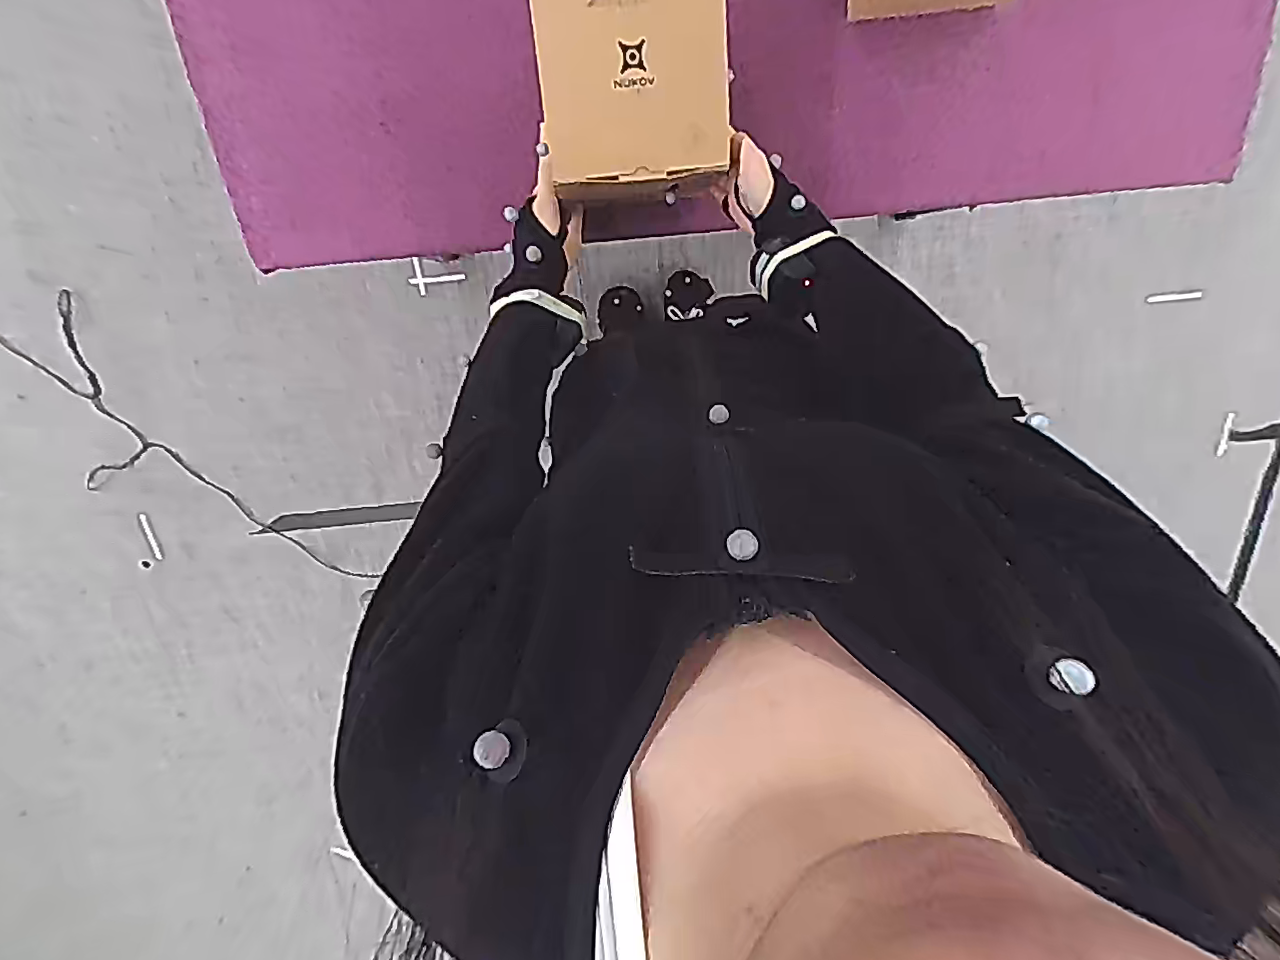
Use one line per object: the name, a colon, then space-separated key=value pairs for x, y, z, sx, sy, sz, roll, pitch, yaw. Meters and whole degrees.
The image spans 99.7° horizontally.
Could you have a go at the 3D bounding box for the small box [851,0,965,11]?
small box: x=0.311 y=-0.571 z=0.492 sx=0.179 sy=0.176 sz=0.168 roll=-7 pitch=109 yaw=-1

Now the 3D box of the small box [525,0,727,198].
small box: x=-0.014 y=-0.389 z=0.535 sx=0.168 sy=0.176 sz=0.179 roll=-8 pitch=110 yaw=-2
